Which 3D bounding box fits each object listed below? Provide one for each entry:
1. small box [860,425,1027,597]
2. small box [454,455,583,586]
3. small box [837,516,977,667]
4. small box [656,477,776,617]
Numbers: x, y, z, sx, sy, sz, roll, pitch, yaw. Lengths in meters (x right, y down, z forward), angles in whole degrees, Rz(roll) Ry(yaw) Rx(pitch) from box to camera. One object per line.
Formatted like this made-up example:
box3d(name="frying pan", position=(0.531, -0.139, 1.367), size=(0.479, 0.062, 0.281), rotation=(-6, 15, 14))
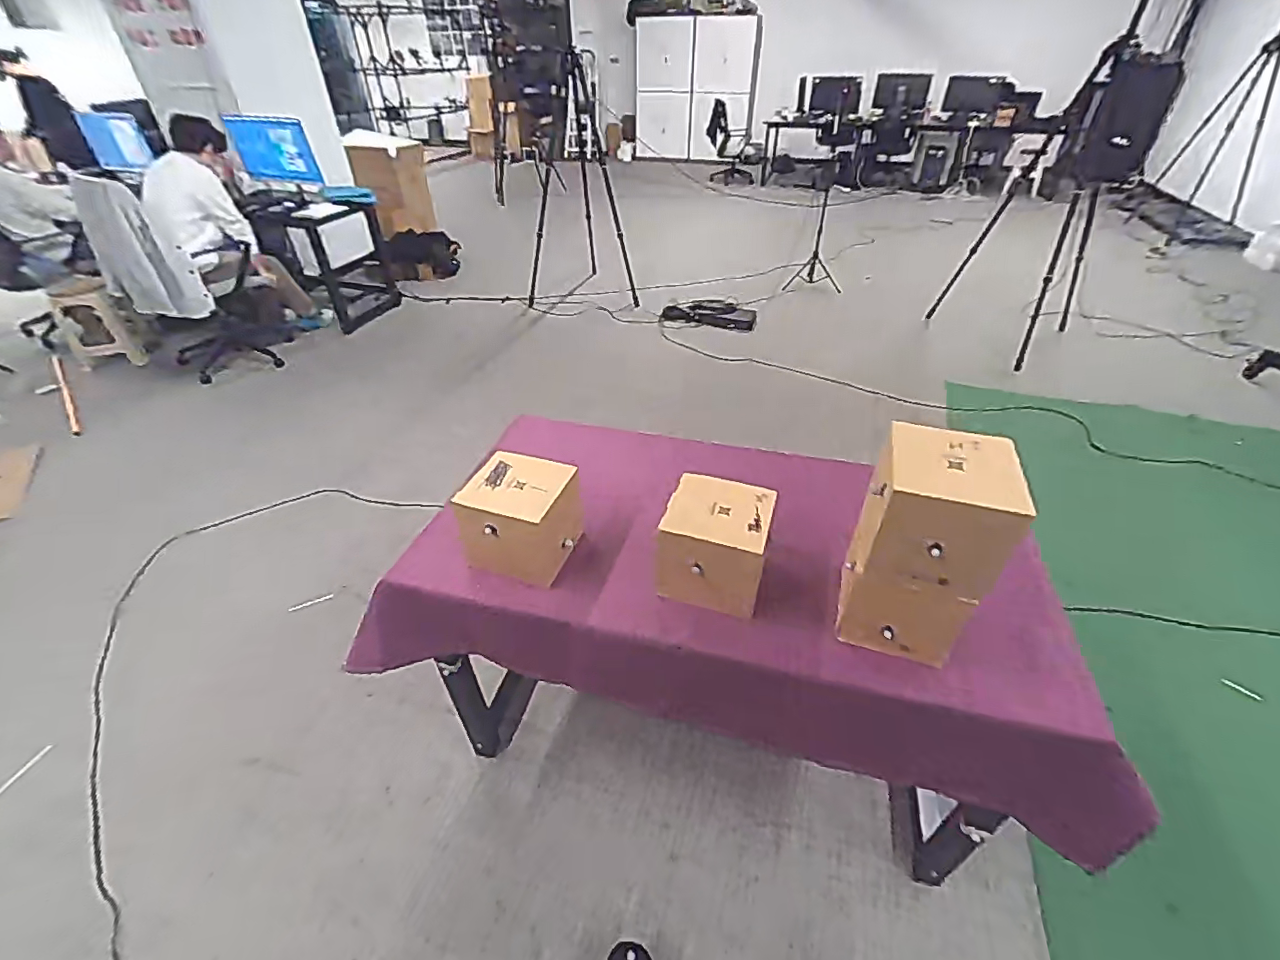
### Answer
box3d(name="small box", position=(0.433, 0.045, 0.800), size=(0.168, 0.176, 0.179), rotation=(12, 40, 15))
box3d(name="small box", position=(-0.222, 0.078, 1.035), size=(0.179, 0.176, 0.168), rotation=(12, 40, 15))
box3d(name="small box", position=(0.434, 0.174, 0.903), size=(0.168, 0.176, 0.179), rotation=(12, 41, 17))
box3d(name="small box", position=(0.136, 0.121, 0.974), size=(0.179, 0.176, 0.168), rotation=(11, 40, 16))
